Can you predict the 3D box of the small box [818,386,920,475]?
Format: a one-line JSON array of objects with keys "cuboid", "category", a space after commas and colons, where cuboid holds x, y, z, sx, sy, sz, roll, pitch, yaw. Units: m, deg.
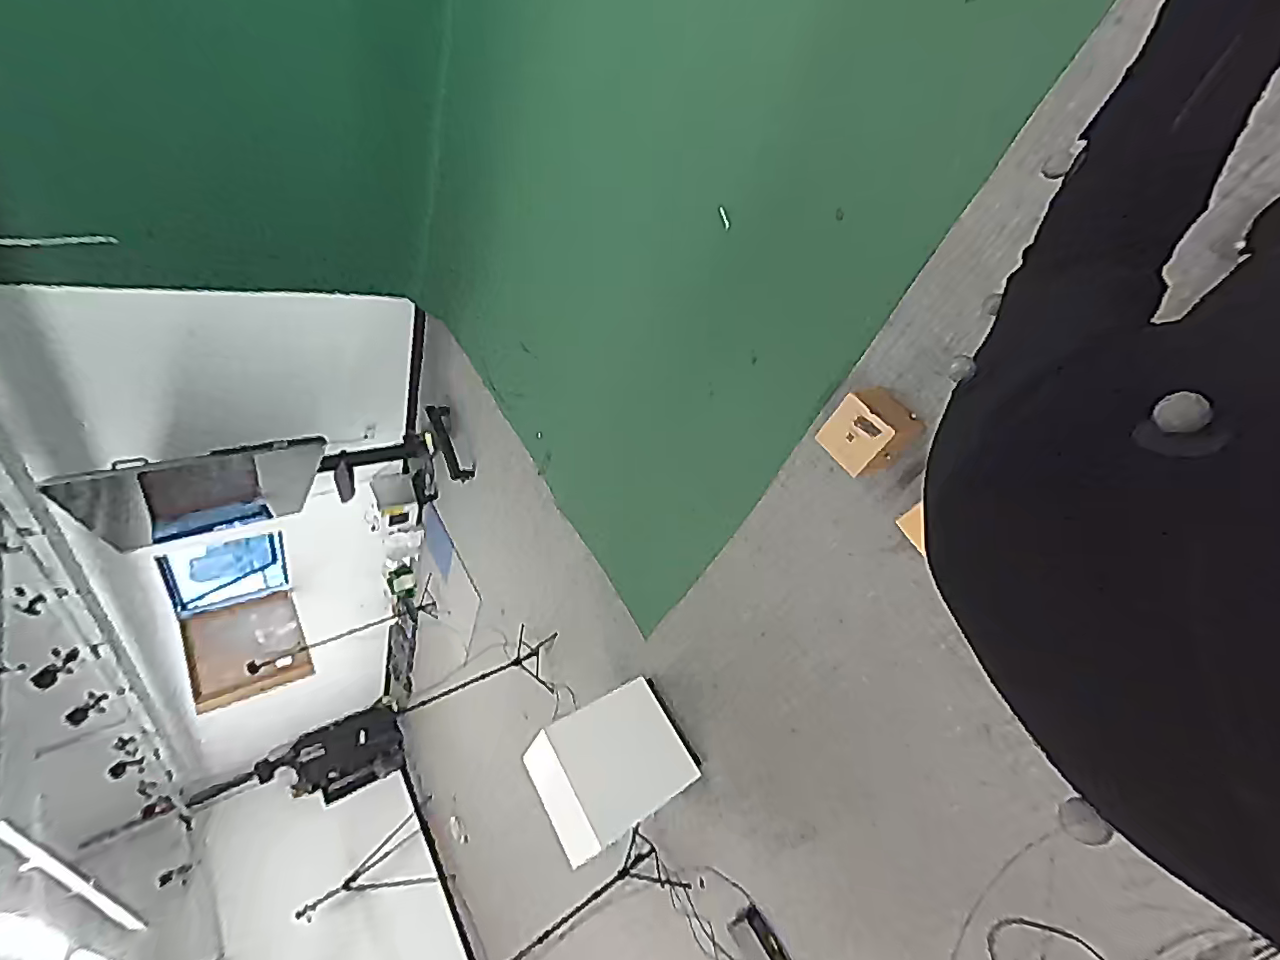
[{"cuboid": [0.637, -0.143, 1.492, 0.168, 0.176, 0.179, 53, 137, 27], "category": "small box"}]
